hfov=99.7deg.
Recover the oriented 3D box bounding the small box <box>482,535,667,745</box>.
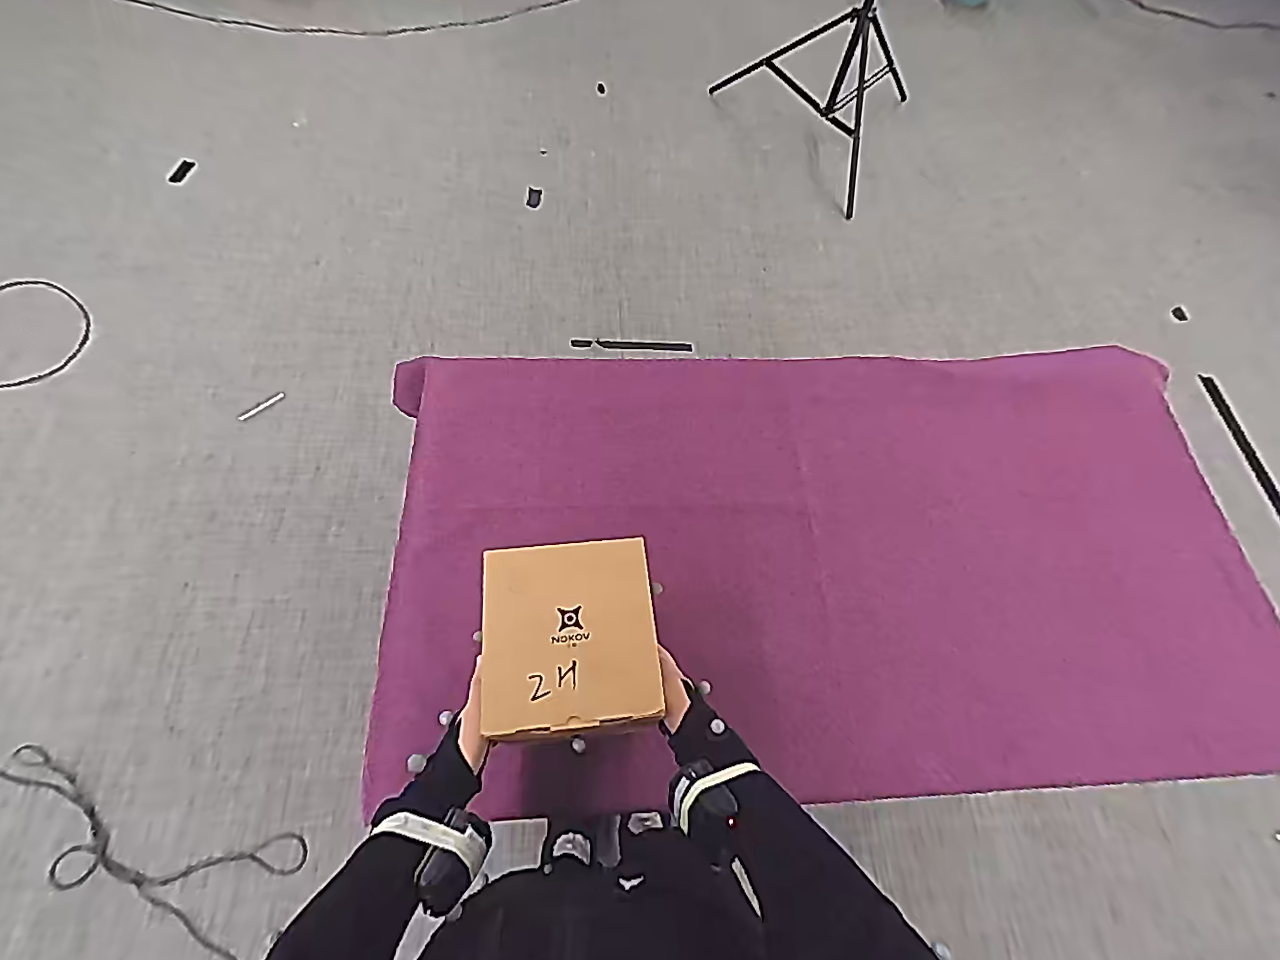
[{"bbox_3d":[-0.070,0.177,0.586,0.168,0.176,0.179,-4,61,-6],"label":"small box"}]
